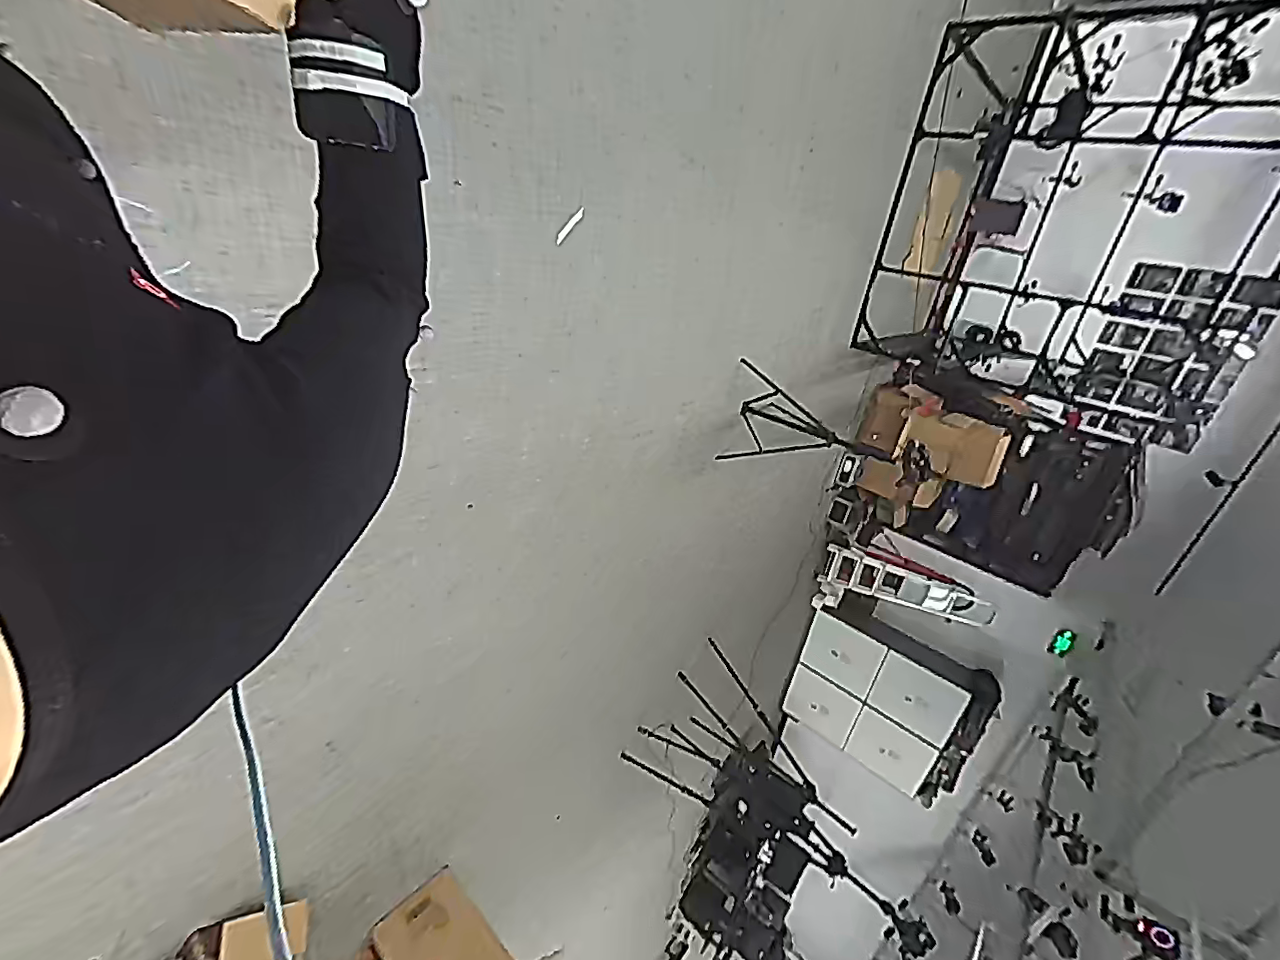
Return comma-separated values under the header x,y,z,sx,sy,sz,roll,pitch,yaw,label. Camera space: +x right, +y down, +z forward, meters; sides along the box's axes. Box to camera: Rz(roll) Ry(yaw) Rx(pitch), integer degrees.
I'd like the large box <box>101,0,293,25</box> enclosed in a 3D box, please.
x,y,z,sx,sy,sz,roll,pitch,yaw,label
-0.396,-0.499,0.229,0.408,0.320,0.320,4,112,-57,large box
